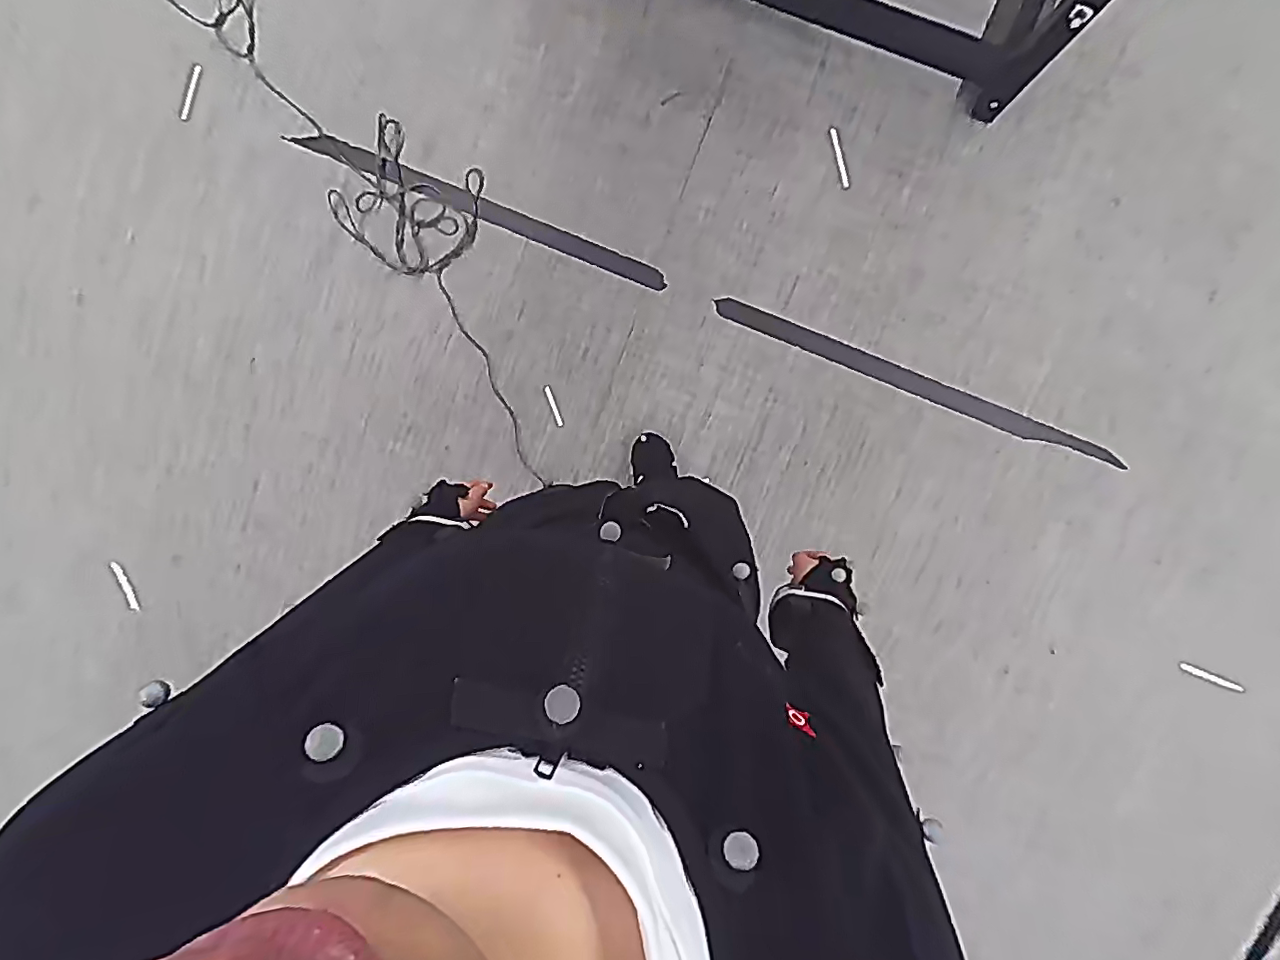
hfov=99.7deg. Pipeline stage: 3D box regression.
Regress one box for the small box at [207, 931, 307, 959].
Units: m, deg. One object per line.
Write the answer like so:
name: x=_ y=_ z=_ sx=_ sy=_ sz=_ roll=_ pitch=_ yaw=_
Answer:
small box: x=-0.602 y=0.819 z=0.786 sx=0.179 sy=0.176 sz=0.168 roll=23 pitch=96 yaw=3
